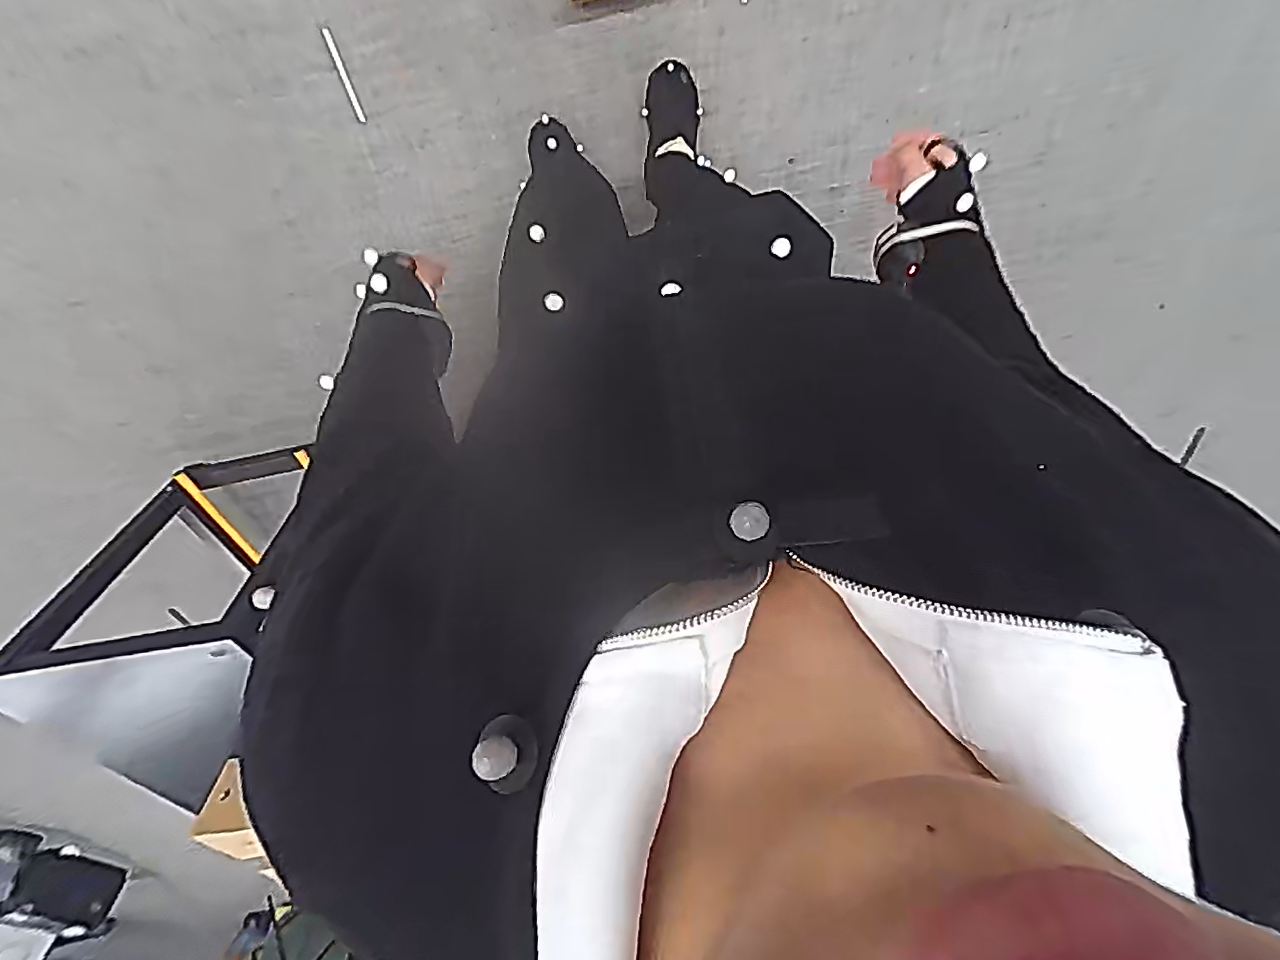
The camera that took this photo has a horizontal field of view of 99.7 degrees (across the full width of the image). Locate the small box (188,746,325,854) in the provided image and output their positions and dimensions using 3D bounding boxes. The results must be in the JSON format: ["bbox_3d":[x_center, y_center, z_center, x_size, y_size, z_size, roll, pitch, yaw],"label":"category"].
[{"bbox_3d":[-0.899,0.761,1.289,0.179,0.176,0.168,-11,130,4],"label":"small box"}]

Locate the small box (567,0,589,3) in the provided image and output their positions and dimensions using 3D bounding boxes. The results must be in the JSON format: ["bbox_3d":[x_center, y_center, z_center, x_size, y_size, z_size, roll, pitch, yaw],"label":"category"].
[{"bbox_3d":[-0.059,-0.932,0.911,0.179,0.176,0.168,-11,129,4],"label":"small box"}]
